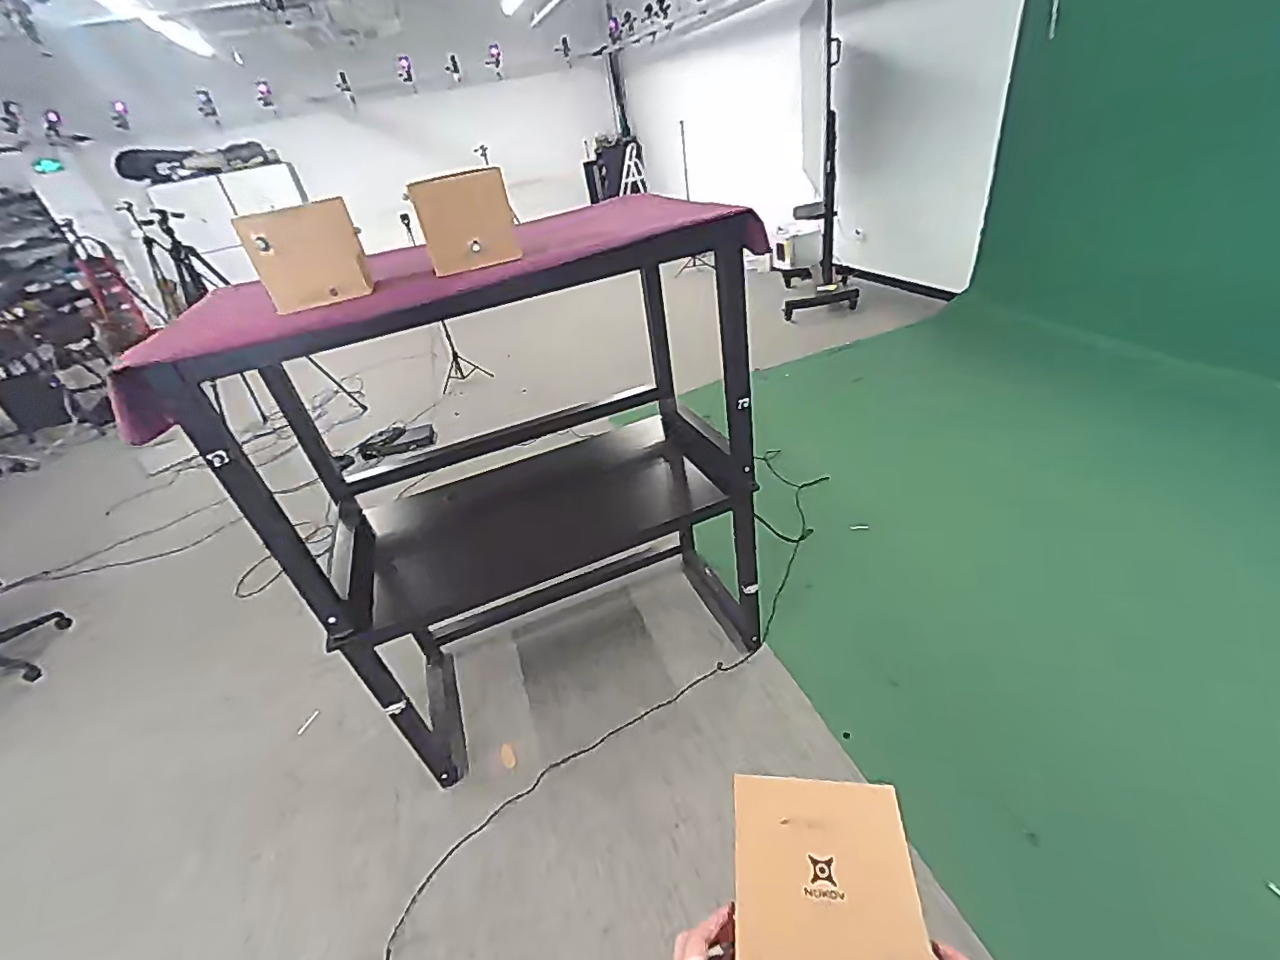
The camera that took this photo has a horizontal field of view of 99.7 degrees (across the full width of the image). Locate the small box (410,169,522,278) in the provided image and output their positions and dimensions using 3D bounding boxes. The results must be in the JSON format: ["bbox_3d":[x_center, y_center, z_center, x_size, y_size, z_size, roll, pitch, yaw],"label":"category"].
[{"bbox_3d":[-0.349,-0.524,1.100,0.179,0.176,0.168,-18,33,-12],"label":"small box"}]

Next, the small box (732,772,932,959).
[{"bbox_3d":[0.179,0.429,0.547,0.168,0.176,0.179,-1,37,10],"label":"small box"}]
